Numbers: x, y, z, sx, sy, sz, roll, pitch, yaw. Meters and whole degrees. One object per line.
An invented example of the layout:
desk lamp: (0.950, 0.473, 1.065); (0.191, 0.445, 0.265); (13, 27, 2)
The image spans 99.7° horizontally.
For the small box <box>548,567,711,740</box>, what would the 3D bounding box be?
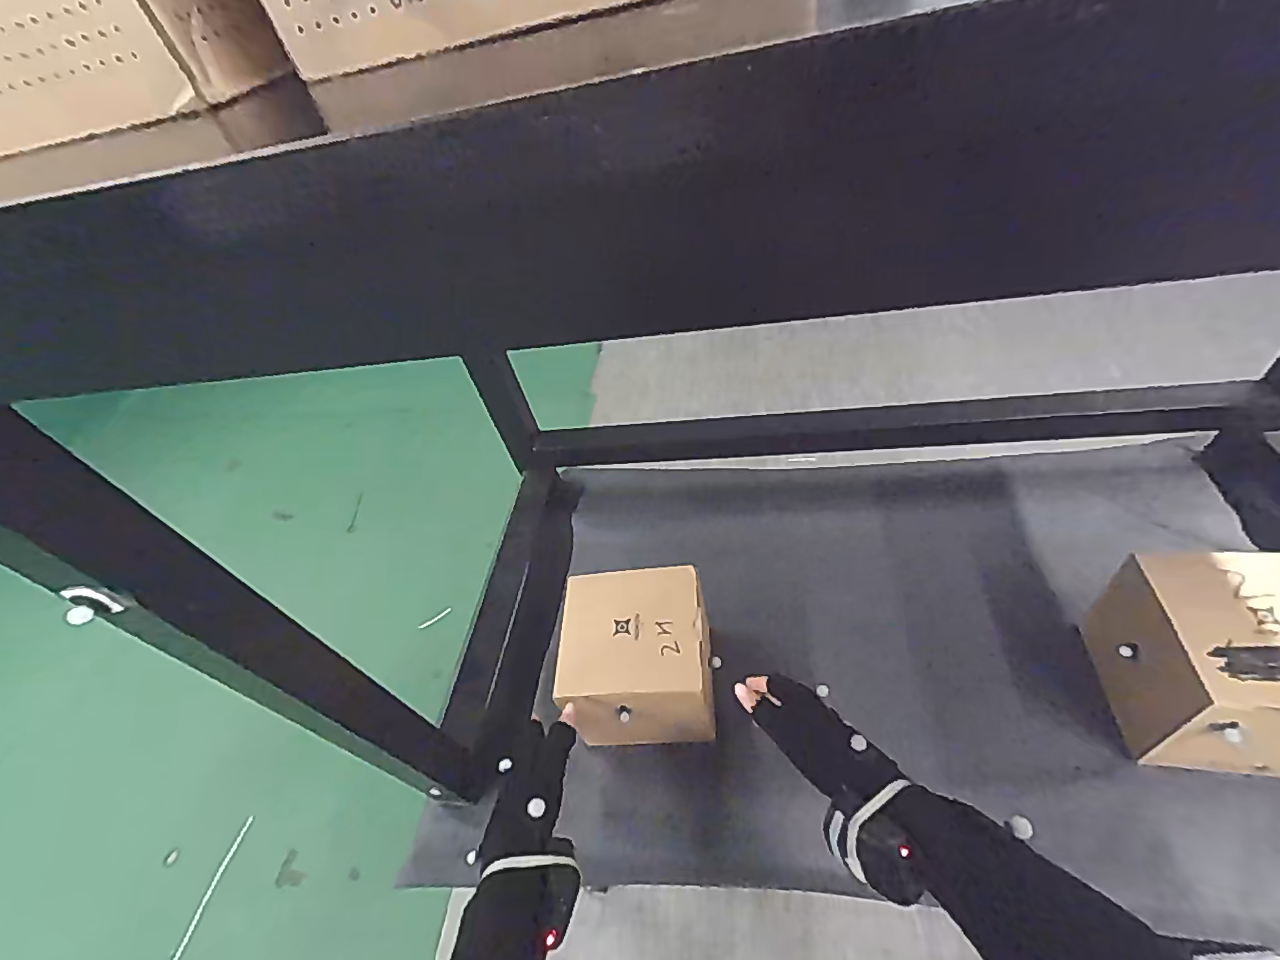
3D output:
small box: (-0.004, 0.235, 0.721); (0.179, 0.176, 0.168); (-6, 47, 9)

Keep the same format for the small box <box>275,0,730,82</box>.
small box: (-0.044, -0.249, 0.168); (0.168, 0.176, 0.179); (-4, 46, 11)
